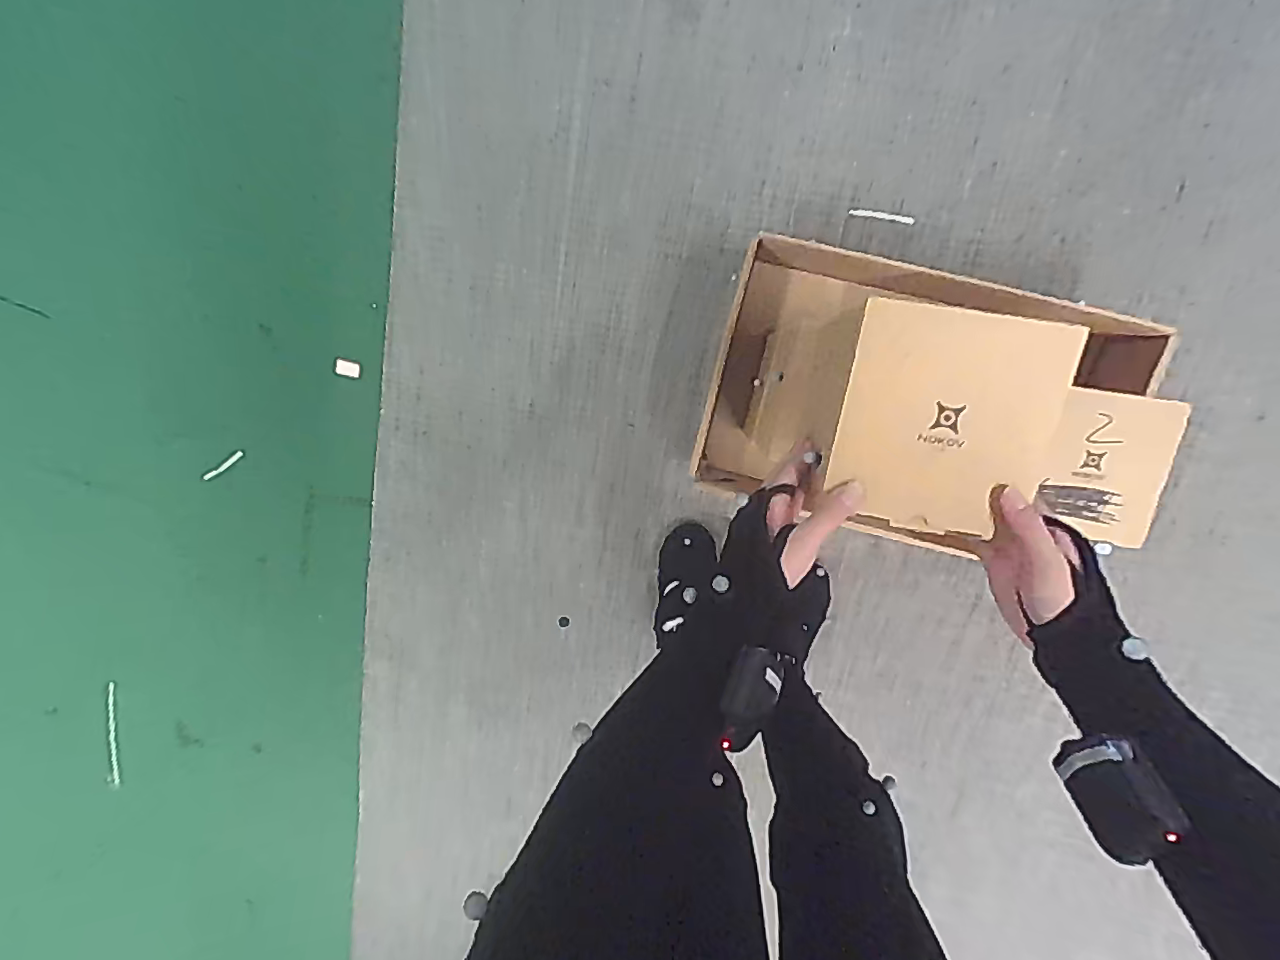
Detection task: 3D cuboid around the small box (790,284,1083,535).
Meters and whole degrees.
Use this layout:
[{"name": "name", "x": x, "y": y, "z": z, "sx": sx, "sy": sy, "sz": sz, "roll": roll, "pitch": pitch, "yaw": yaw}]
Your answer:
[{"name": "small box", "x": 0.247, "y": -0.067, "z": 0.503, "sx": 0.168, "sy": 0.176, "sz": 0.179, "roll": 10, "pitch": 102, "yaw": 4}]

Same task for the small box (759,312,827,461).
[{"name": "small box", "x": 0.260, "y": -0.109, "z": 0.712, "sx": 0.168, "sy": 0.176, "sz": 0.179, "roll": 12, "pitch": 101, "yaw": 5}]
